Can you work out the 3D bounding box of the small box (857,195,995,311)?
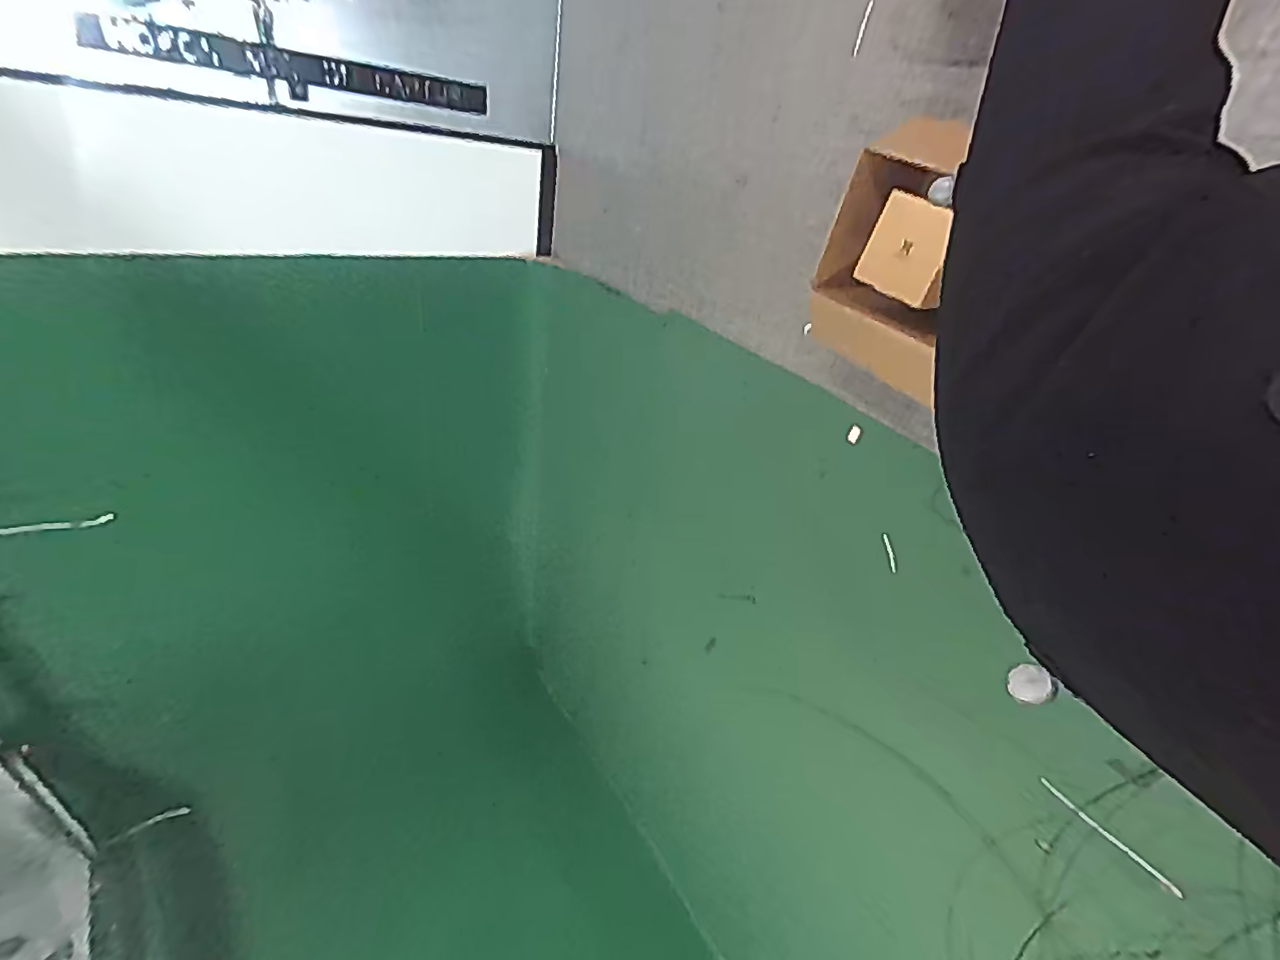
[{"bbox_3d":[0.598,-0.468,1.126,0.168,0.176,0.179,45,134,34],"label":"small box"}]
